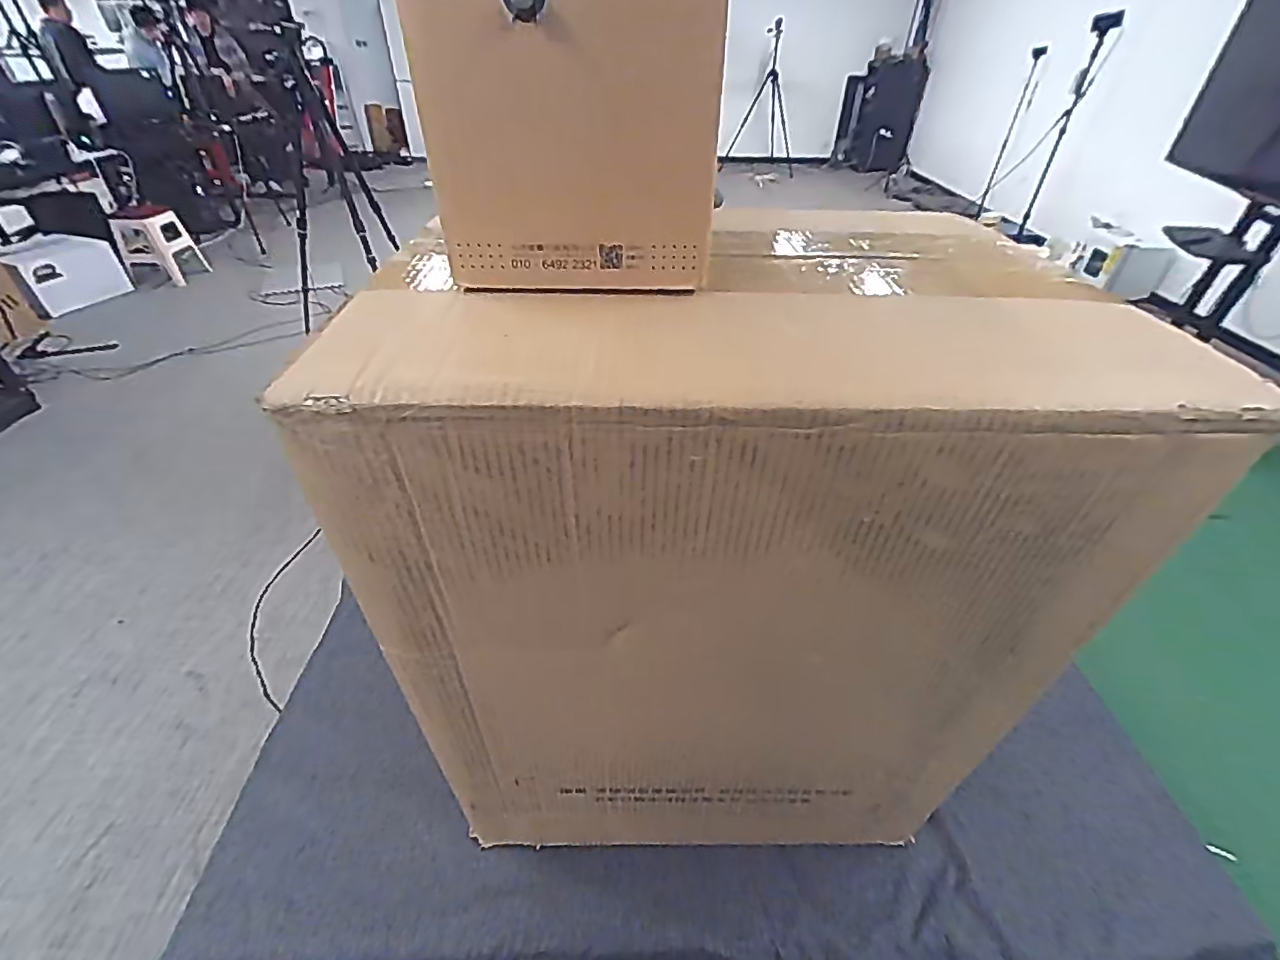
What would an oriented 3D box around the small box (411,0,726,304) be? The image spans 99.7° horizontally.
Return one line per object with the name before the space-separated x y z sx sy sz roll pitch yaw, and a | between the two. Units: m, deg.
small box | -0.038 -0.235 0.381 0.168 0.176 0.179 0 37 0
